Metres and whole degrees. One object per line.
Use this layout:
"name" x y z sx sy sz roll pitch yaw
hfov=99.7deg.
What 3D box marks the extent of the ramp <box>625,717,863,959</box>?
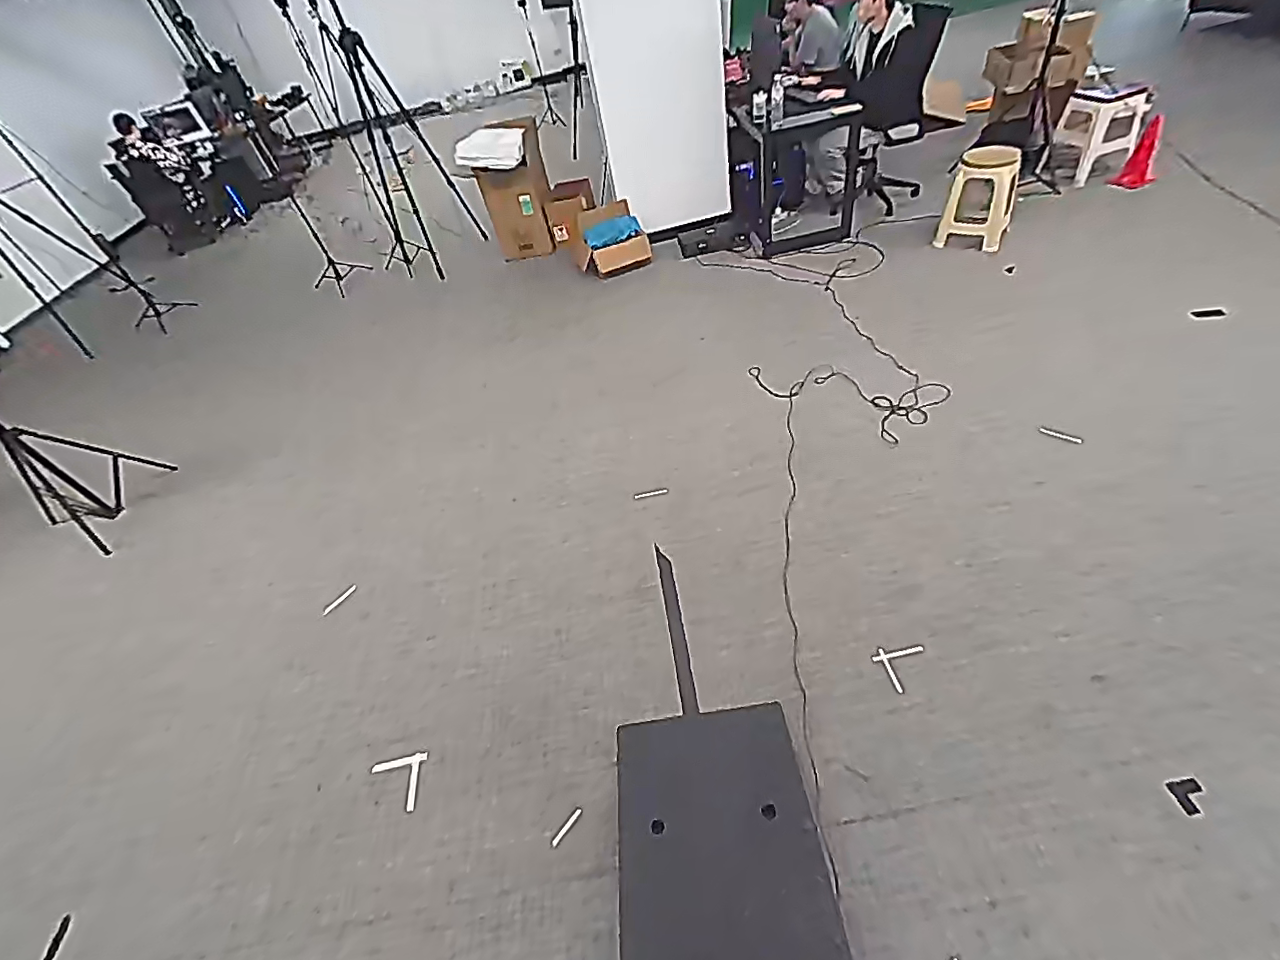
"ramp" 0.218 1.012 1.177 0.509 0.206 0.991 -14 42 3
